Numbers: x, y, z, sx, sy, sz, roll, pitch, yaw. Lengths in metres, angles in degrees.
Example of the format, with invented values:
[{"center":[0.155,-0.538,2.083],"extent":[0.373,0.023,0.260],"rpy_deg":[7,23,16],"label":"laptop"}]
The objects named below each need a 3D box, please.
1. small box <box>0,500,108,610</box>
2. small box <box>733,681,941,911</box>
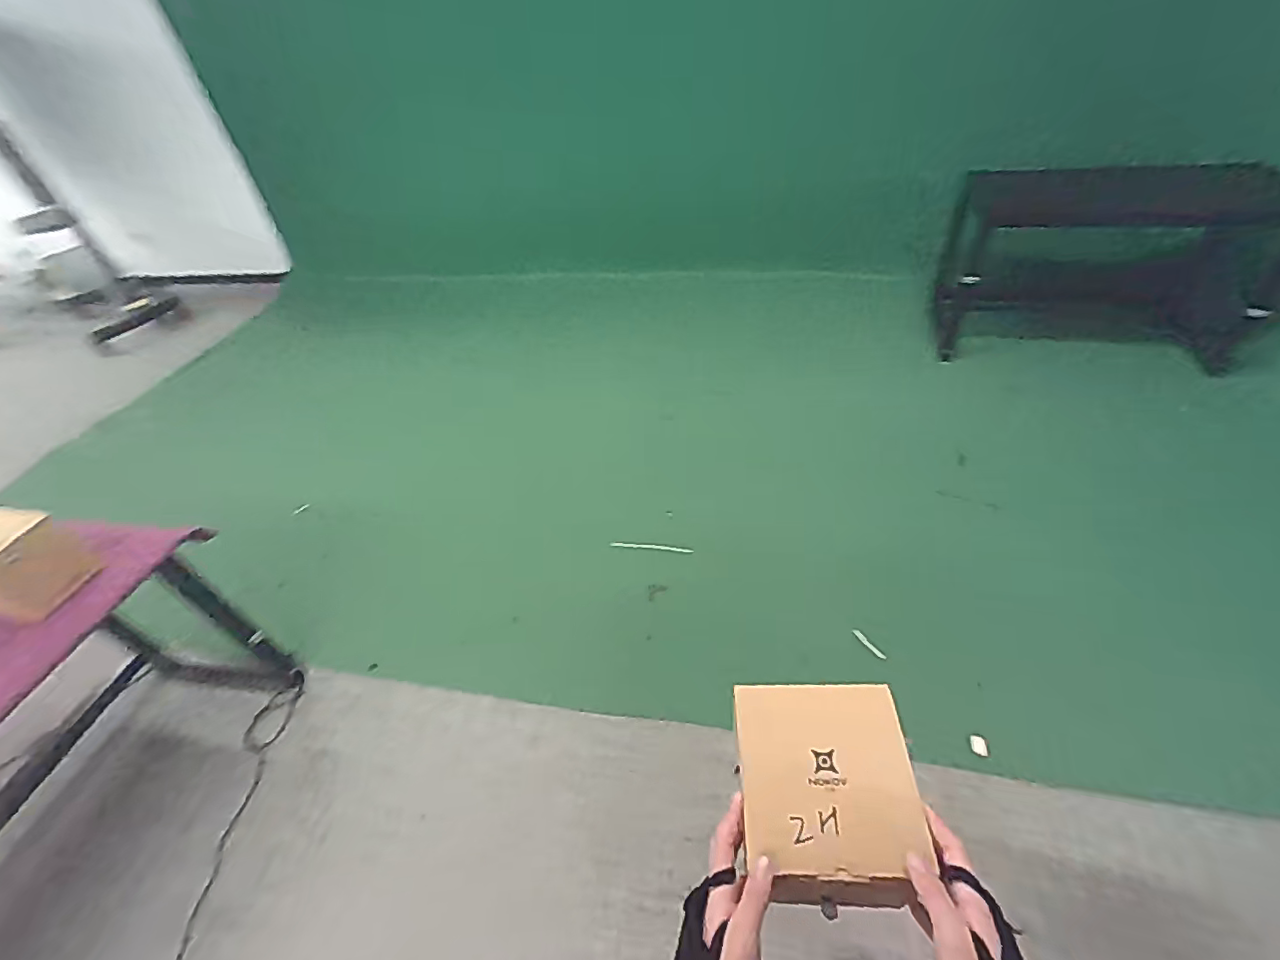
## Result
[{"center":[-1.345,0.165,1.173],"extent":[0.179,0.176,0.168],"rpy_deg":[4,46,15],"label":"small box"},{"center":[0.188,0.337,0.580],"extent":[0.168,0.176,0.179],"rpy_deg":[-3,45,7],"label":"small box"}]
